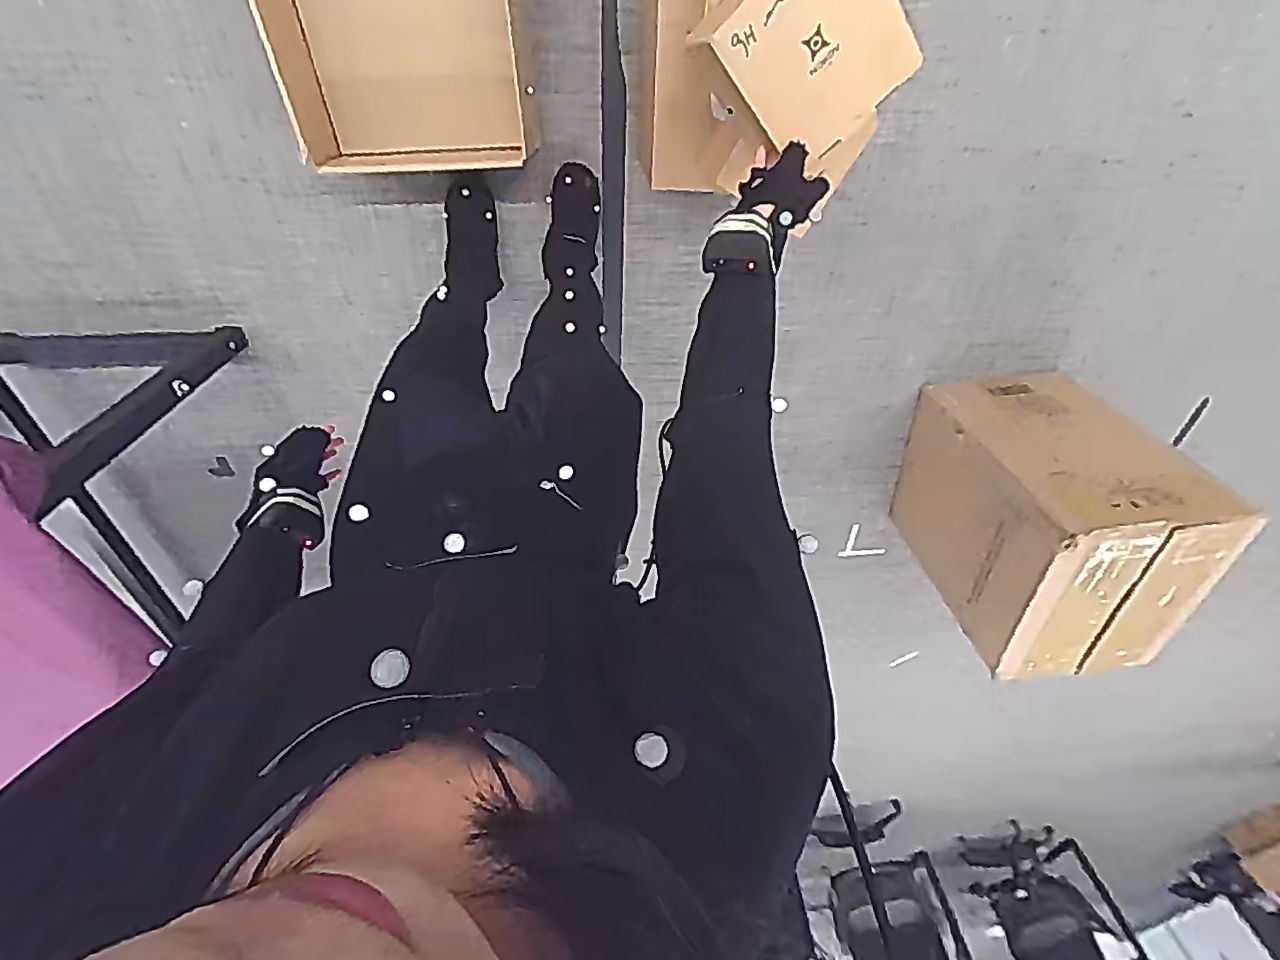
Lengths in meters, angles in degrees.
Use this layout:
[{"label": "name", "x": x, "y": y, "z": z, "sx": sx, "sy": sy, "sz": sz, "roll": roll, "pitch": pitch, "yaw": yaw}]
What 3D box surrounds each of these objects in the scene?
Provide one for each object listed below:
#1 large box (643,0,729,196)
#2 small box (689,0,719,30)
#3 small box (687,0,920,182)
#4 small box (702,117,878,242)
[{"label": "large box", "x": 0.170, "y": -0.747, "z": 0.938, "sx": 0.320, "sy": 0.320, "sz": 0.408, "roll": -1, "pitch": 129, "yaw": -3}, {"label": "small box", "x": 0.166, "y": -0.669, "z": 0.691, "sx": 0.179, "sy": 0.176, "sz": 0.168, "roll": 0, "pitch": 130, "yaw": -7}, {"label": "small box", "x": 0.176, "y": -0.489, "z": 0.622, "sx": 0.168, "sy": 0.176, "sz": 0.179, "roll": -38, "pitch": 123, "yaw": 20}, {"label": "small box", "x": 0.212, "y": -0.503, "z": 0.821, "sx": 0.168, "sy": 0.176, "sz": 0.179, "roll": 22, "pitch": 123, "yaw": -21}]
